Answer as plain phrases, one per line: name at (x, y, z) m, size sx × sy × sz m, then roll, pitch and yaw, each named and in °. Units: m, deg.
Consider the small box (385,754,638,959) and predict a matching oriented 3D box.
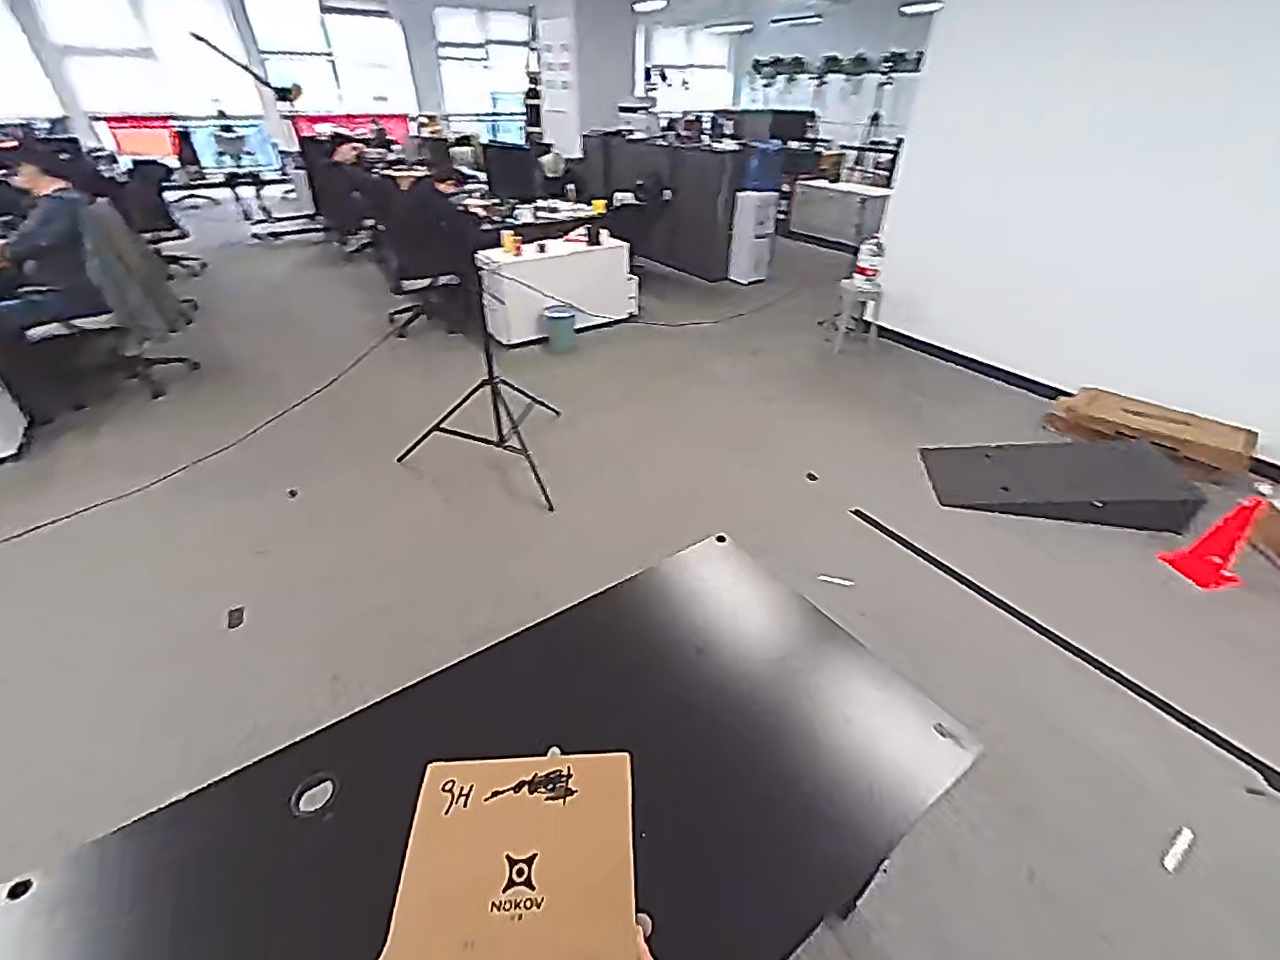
small box at (-0.087, 0.347, 0.437) m, size 0.168 × 0.176 × 0.179 m, roll -2°, pitch 43°, yaw -2°
